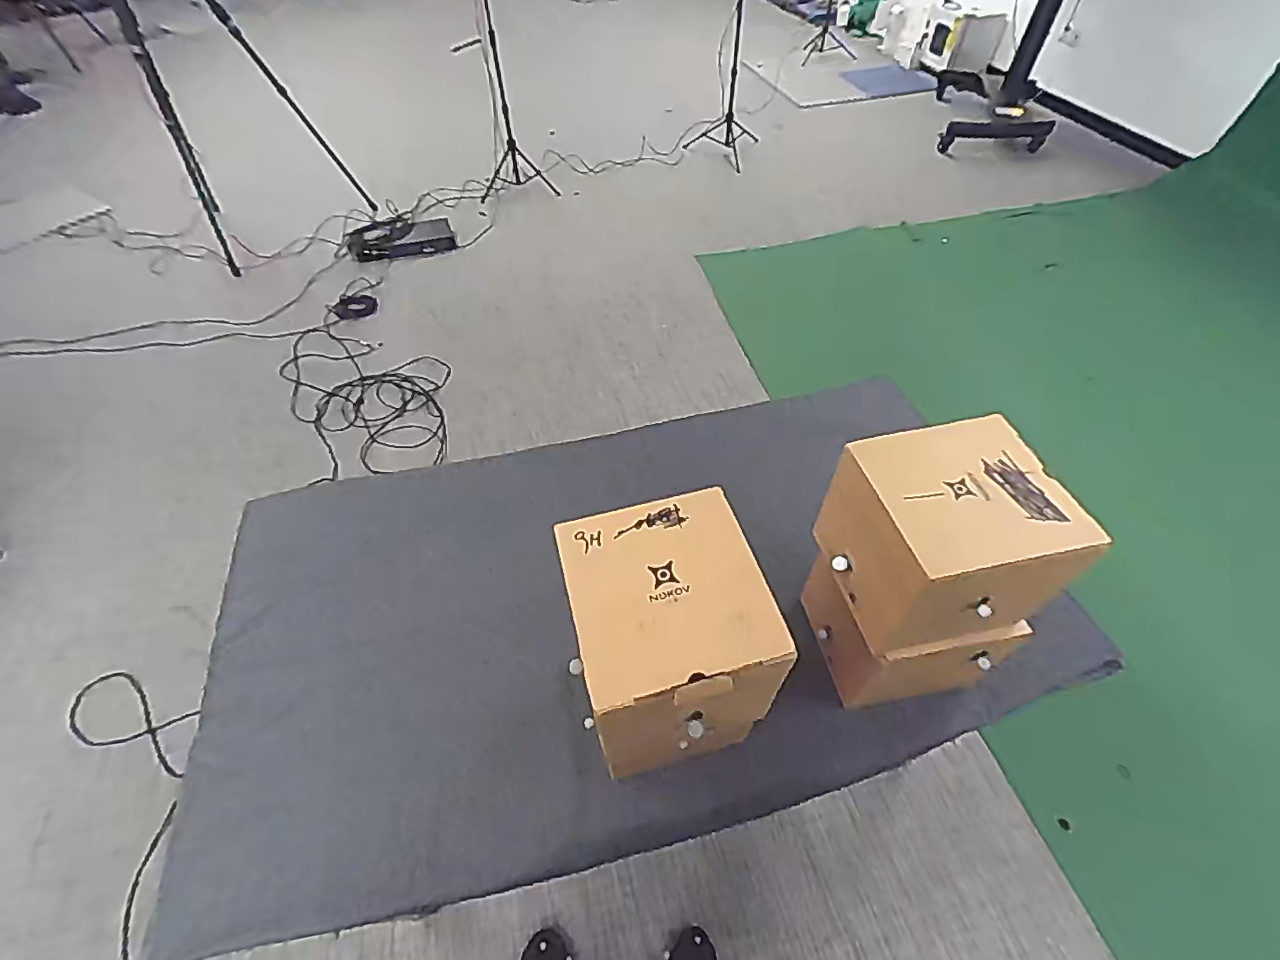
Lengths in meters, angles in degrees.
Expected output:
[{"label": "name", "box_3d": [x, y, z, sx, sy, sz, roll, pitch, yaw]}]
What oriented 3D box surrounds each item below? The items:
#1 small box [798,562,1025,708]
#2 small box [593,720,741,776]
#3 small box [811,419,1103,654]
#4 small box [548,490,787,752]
[{"label": "small box", "box_3d": [0.325, 0.173, 0.692, 0.179, 0.176, 0.168, -9, 50, -5]}, {"label": "small box", "box_3d": [0.019, 0.235, 0.652, 0.179, 0.176, 0.168, -12, 53, -10]}, {"label": "small box", "box_3d": [0.306, 0.063, 0.571, 0.179, 0.176, 0.168, -10, 51, -6]}, {"label": "small box", "box_3d": [0.018, 0.141, 0.516, 0.168, 0.176, 0.179, -13, 53, -9]}]
